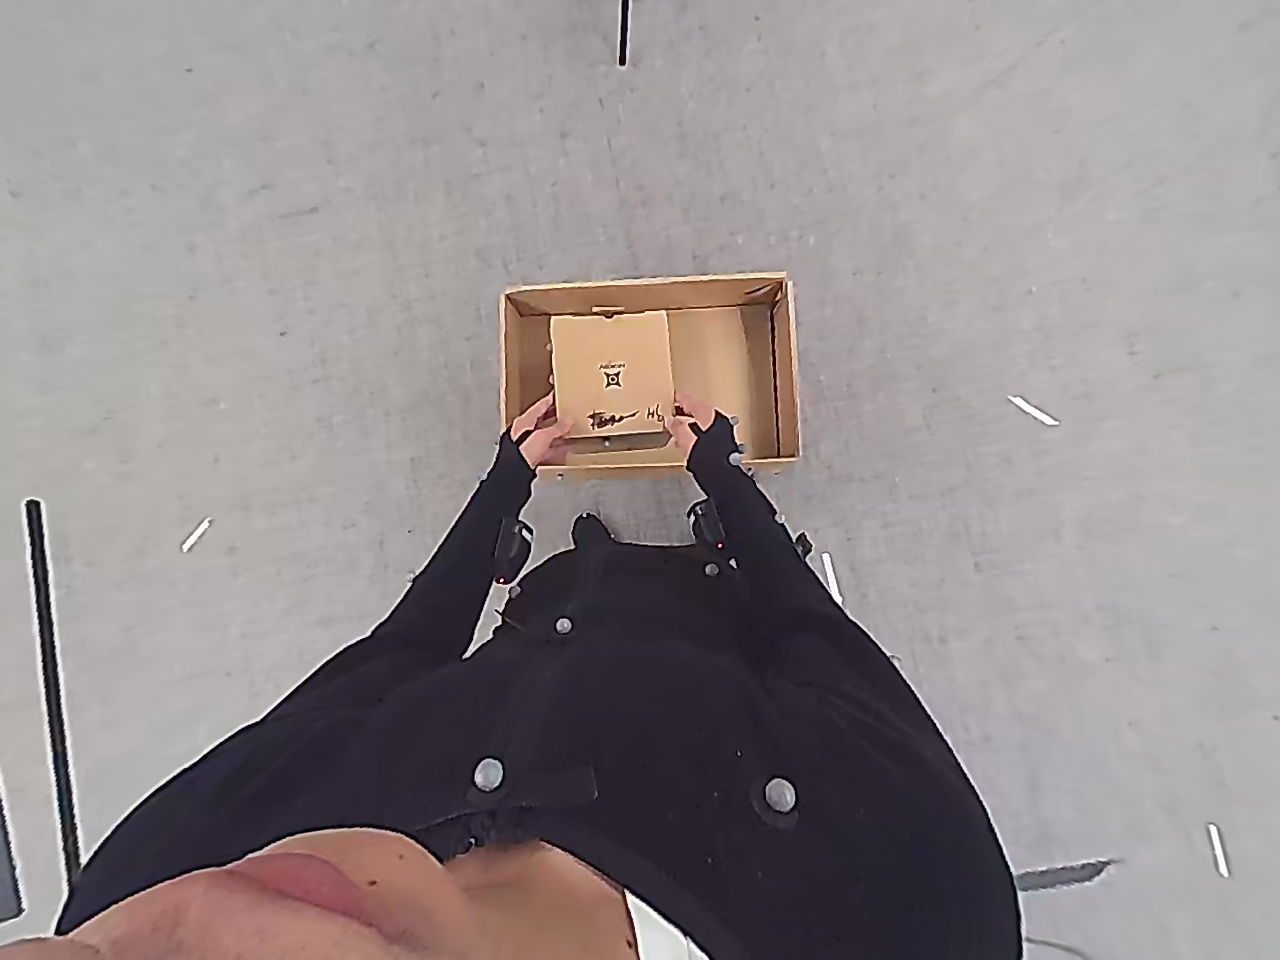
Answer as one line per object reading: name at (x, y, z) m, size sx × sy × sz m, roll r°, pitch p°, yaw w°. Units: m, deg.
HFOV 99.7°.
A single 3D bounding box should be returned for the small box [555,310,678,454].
small box at (-0.037, -0.141, 0.826) m, size 0.168 × 0.176 × 0.179 m, roll -4°, pitch 85°, yaw -2°
